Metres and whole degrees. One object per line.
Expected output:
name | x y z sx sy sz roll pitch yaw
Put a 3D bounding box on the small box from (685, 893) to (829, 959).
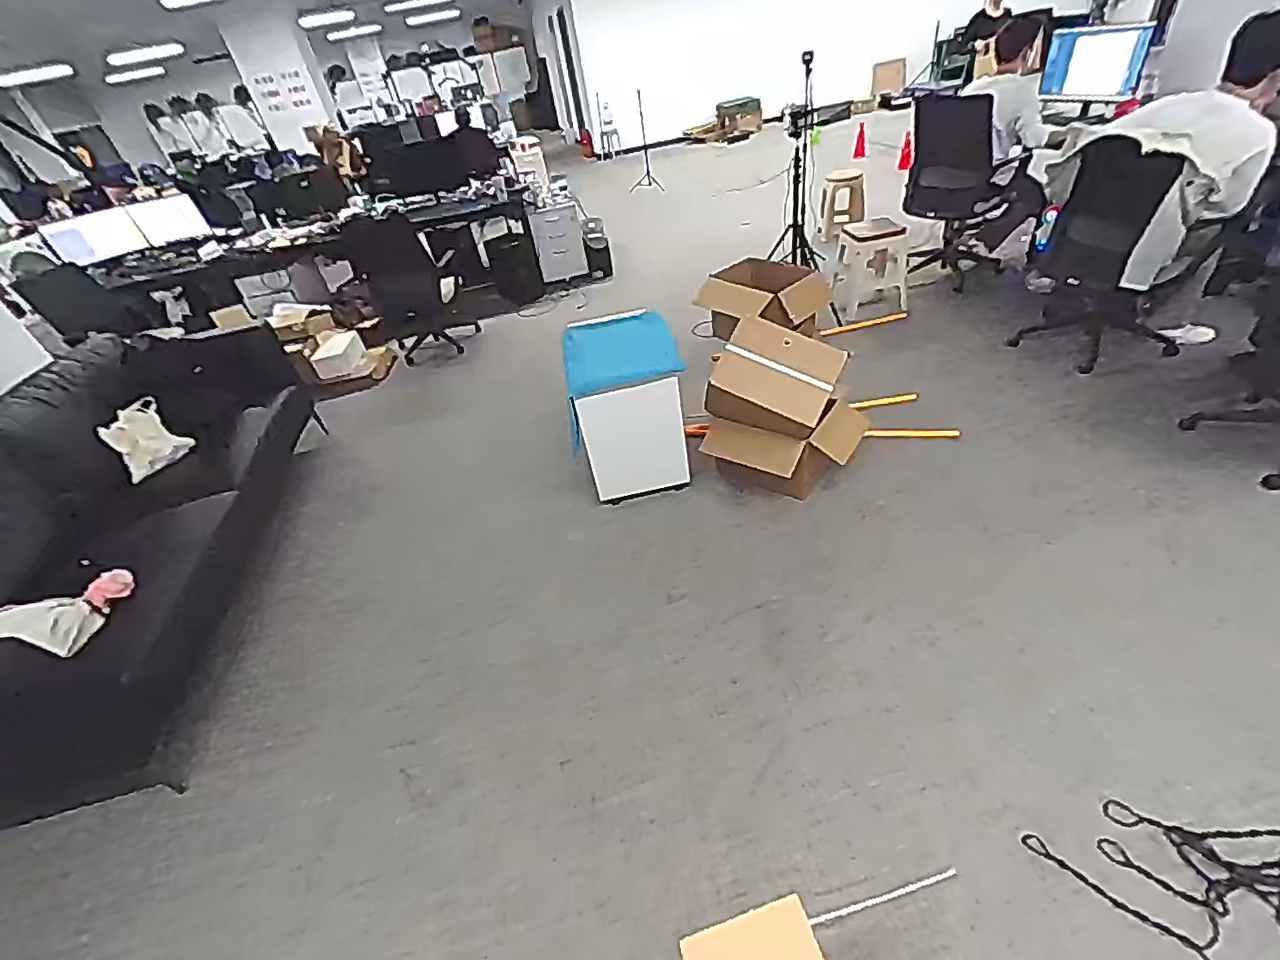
small box | 0.166 0.667 0.675 0.168 0.176 0.179 -18 40 -5
